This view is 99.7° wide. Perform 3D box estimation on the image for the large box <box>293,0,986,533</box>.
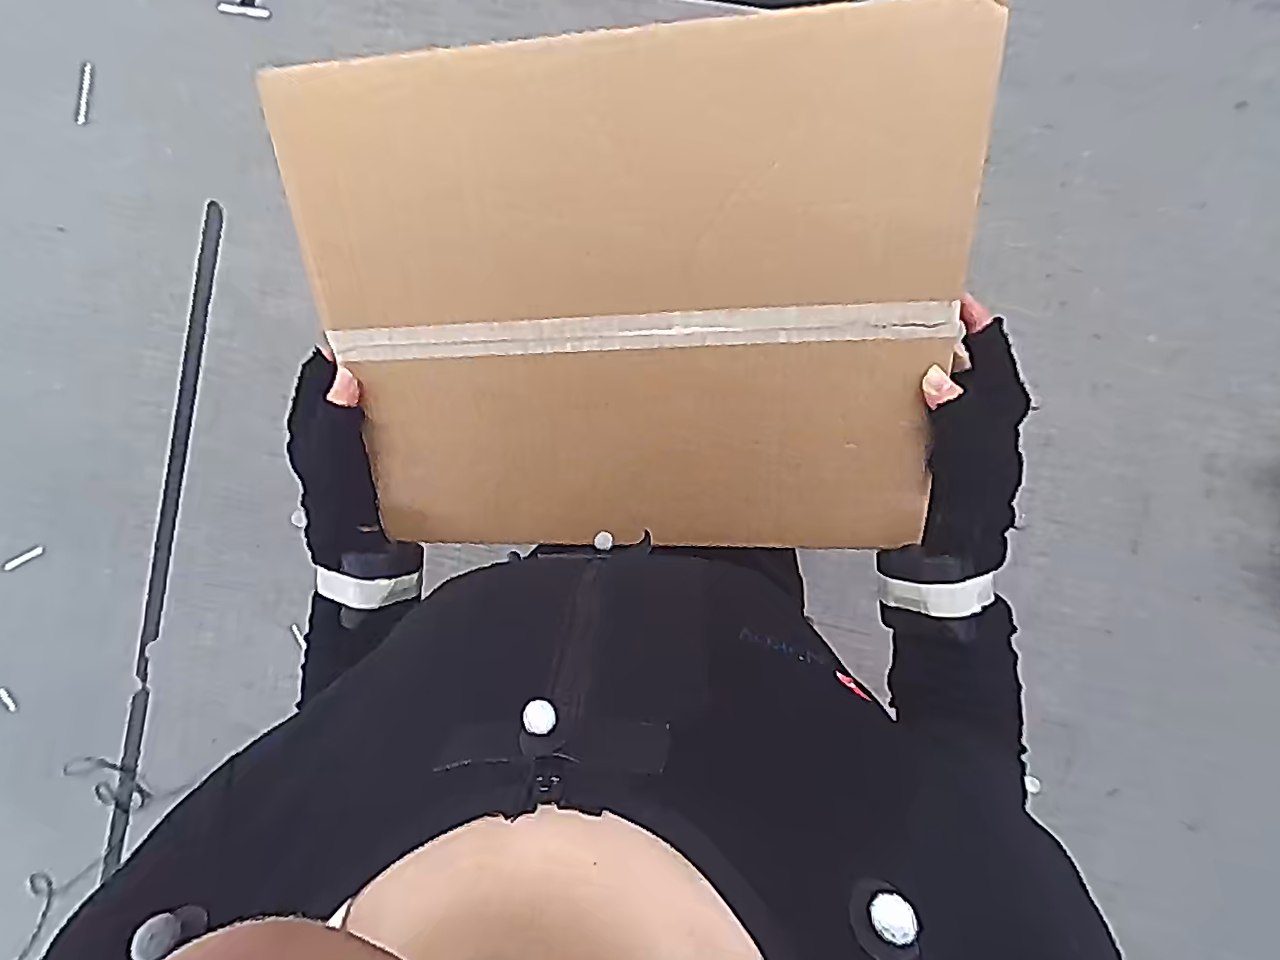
[{"bbox_3d":[0.008,-0.161,0.496,0.408,0.320,0.320,-1,115,8],"label":"large box"}]
